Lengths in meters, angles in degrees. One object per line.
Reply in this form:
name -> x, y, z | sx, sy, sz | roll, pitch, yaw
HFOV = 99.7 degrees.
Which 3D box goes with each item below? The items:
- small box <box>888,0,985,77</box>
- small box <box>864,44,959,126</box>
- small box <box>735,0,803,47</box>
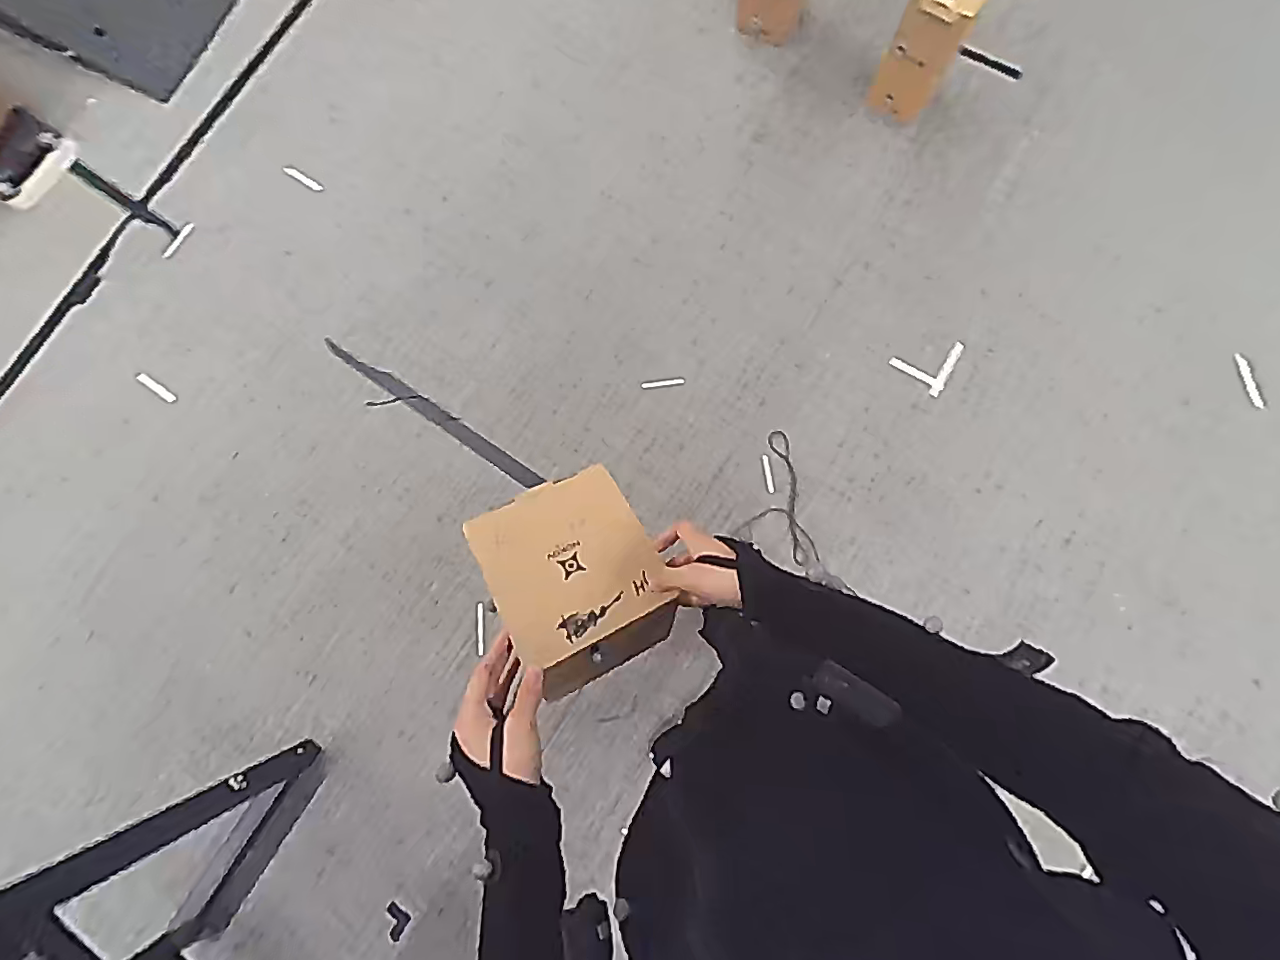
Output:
small box -> 0.785, -1.221, 1.423 | 0.168, 0.176, 0.179 | 34, 84, 8
small box -> 0.790, -1.198, 1.585 | 0.168, 0.176, 0.179 | 34, 85, 8
small box -> 0.406, -1.499, 1.661 | 0.168, 0.176, 0.179 | 30, 84, 9
